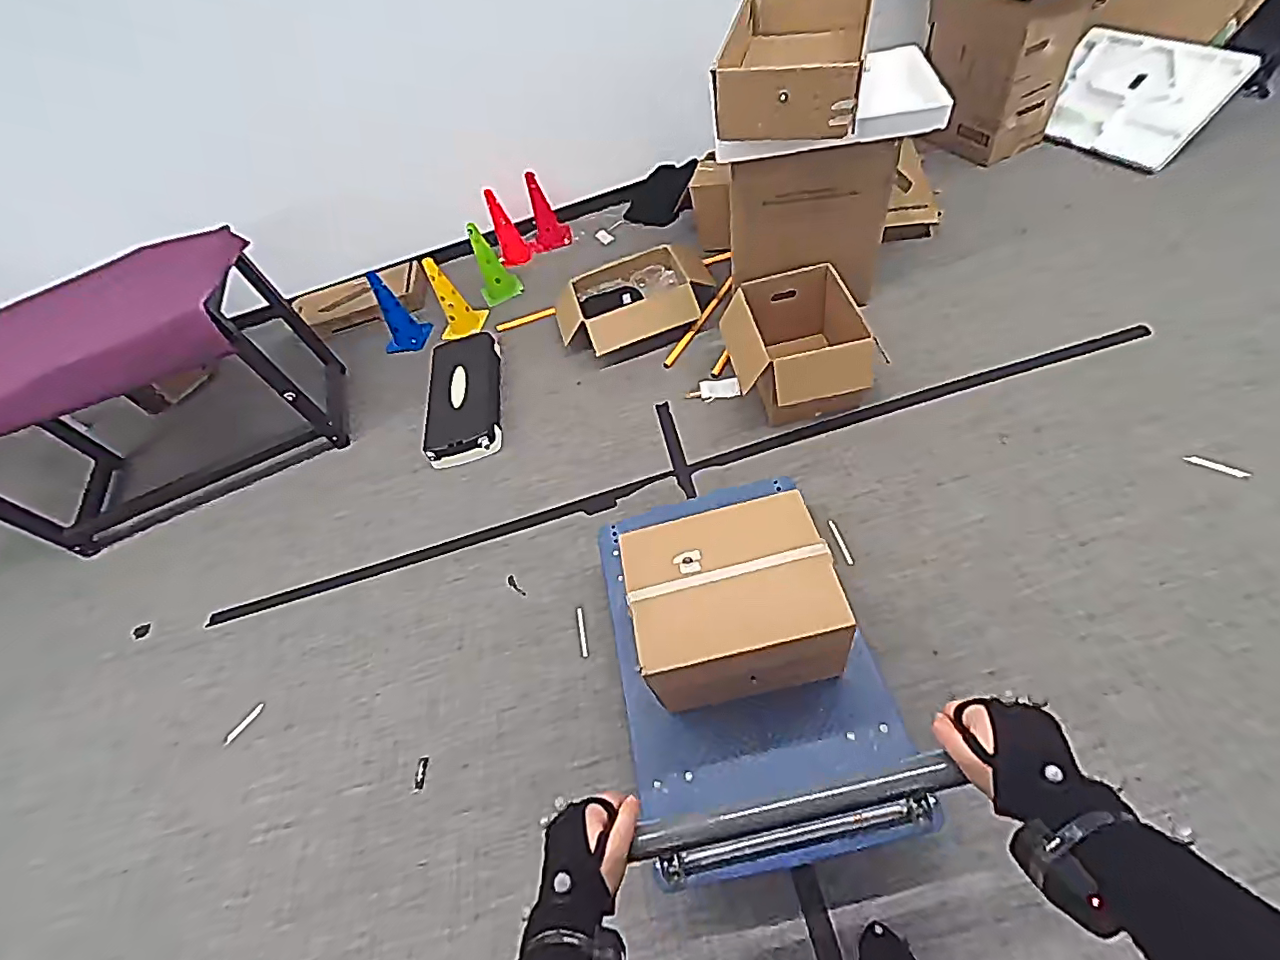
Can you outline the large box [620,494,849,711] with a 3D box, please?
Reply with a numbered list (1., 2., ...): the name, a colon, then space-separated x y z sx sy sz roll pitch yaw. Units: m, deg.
1. large box: 0.204 0.284 1.210 0.408 0.320 0.320 -16 51 5
